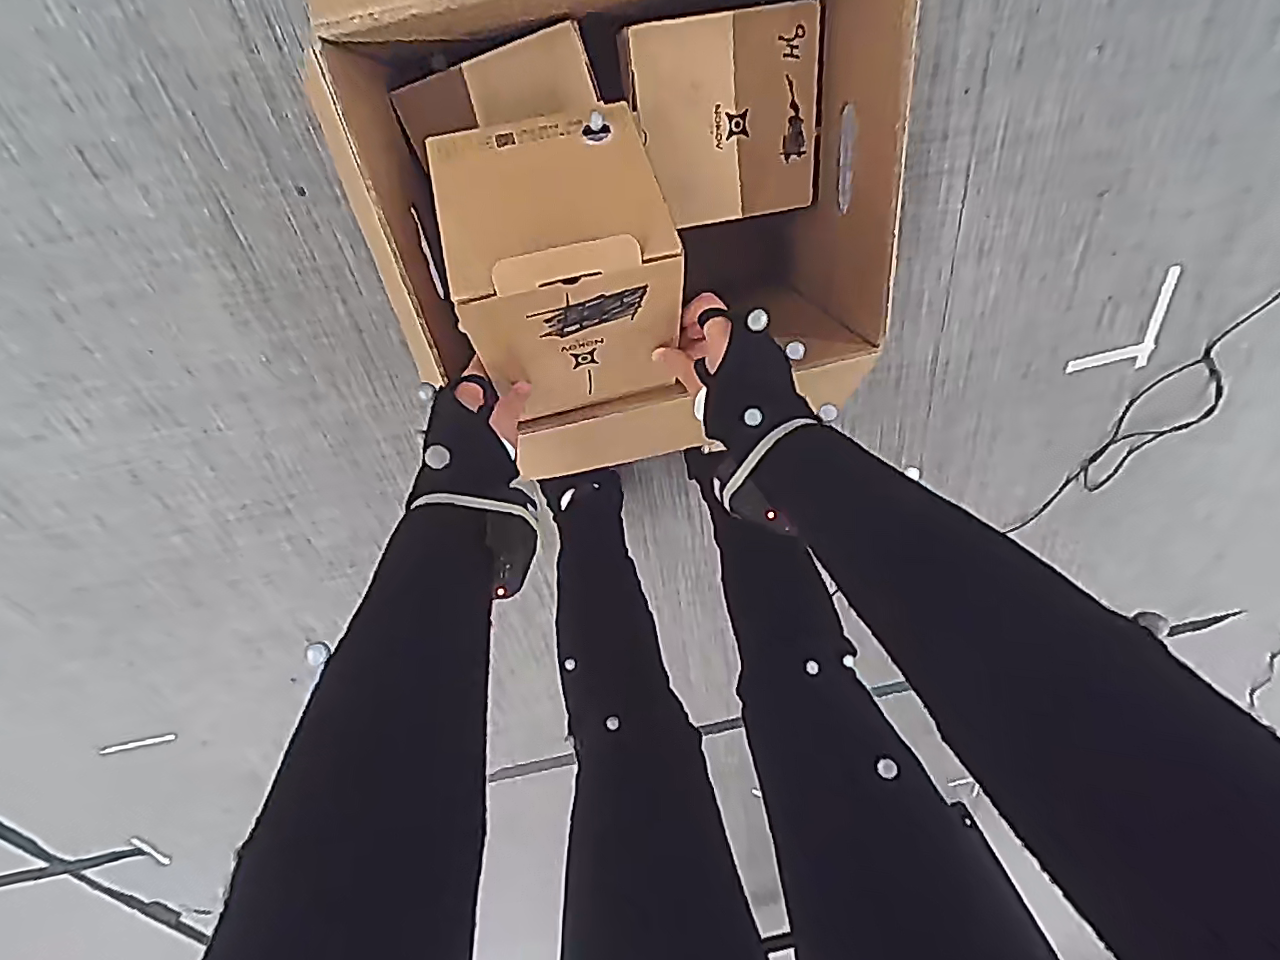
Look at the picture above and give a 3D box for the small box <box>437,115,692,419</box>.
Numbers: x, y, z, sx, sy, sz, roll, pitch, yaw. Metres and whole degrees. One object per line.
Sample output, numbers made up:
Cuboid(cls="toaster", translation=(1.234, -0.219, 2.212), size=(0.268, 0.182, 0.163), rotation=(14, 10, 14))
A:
Cuboid(cls="small box", translation=(-0.063, -0.182, 0.470), size=(0.168, 0.176, 0.179), rotation=(-13, 158, -5))
